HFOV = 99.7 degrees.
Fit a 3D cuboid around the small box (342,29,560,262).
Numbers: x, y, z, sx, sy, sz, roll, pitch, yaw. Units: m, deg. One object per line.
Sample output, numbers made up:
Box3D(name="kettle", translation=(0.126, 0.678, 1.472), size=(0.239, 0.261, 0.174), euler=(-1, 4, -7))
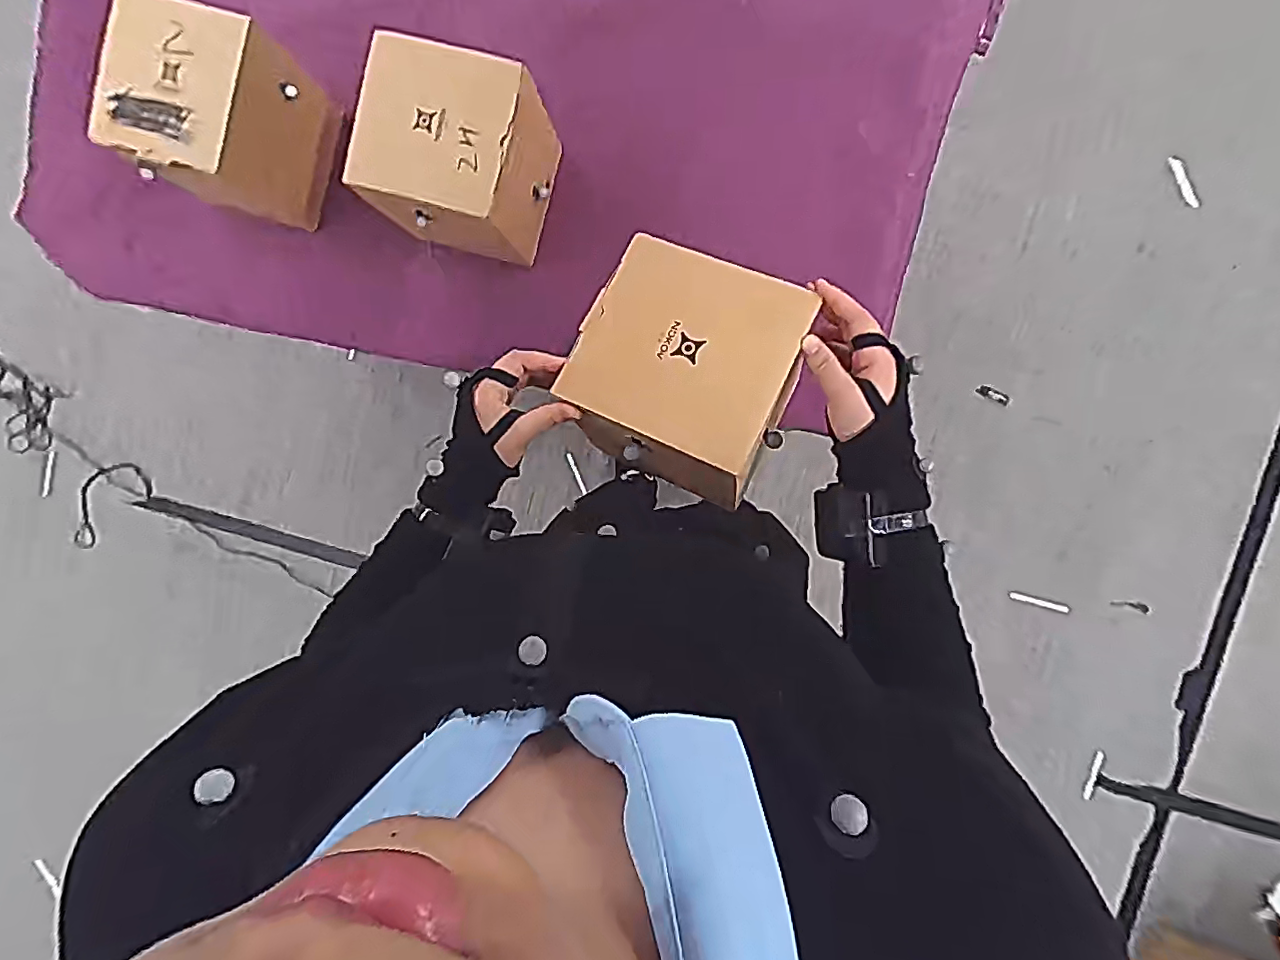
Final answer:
Box3D(name="small box", translation=(-0.216, -0.388, 0.660), size=(0.179, 0.176, 0.168), euler=(16, 96, 3))
